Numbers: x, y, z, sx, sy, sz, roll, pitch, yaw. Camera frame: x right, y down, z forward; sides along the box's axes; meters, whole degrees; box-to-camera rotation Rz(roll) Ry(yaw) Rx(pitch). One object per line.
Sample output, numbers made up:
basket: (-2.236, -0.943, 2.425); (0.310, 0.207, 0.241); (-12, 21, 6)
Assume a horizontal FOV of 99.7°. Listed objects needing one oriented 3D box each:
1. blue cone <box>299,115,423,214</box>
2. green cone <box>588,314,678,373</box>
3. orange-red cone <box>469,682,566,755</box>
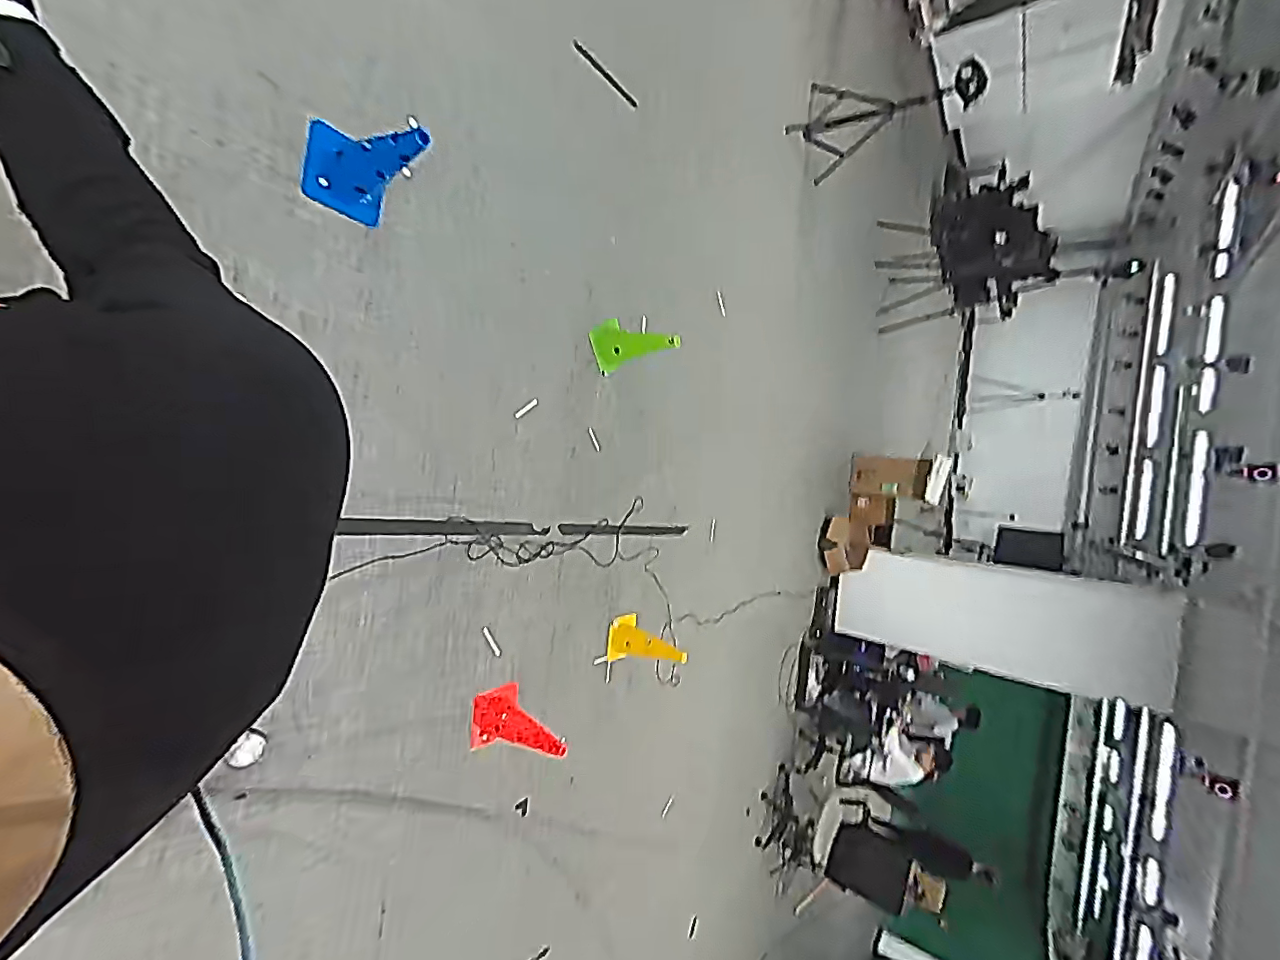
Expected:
blue cone: (-0.651, -0.802, 1.317); (0.193, 0.380, 0.192); (12, 84, -54)
green cone: (-0.001, -0.574, 2.215); (0.200, 0.368, 0.202); (-47, 129, -41)
orange-red cone: (-0.401, 0.875, 1.891); (0.199, 0.360, 0.198); (2, 94, -55)
